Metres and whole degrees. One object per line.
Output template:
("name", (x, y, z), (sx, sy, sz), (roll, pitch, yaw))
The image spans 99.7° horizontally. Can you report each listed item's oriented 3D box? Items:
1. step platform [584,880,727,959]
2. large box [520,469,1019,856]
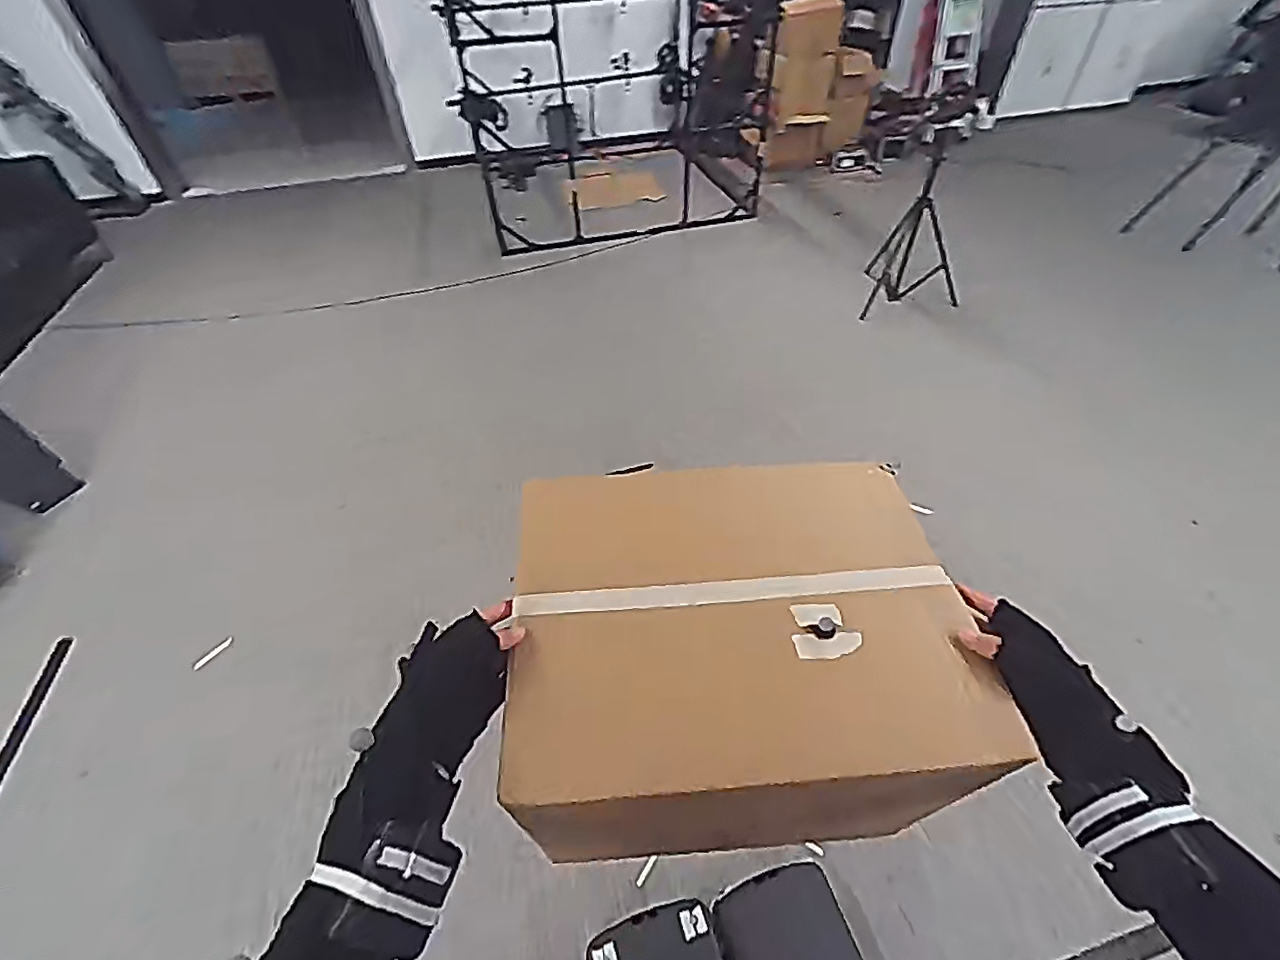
("step platform", (0.103, 1.198, 1.039), (0.286, 0.204, 0.684), (-15, 46, -11))
("large box", (0.091, 0.209, 0.624), (0.408, 0.320, 0.320), (-2, 48, -3))
